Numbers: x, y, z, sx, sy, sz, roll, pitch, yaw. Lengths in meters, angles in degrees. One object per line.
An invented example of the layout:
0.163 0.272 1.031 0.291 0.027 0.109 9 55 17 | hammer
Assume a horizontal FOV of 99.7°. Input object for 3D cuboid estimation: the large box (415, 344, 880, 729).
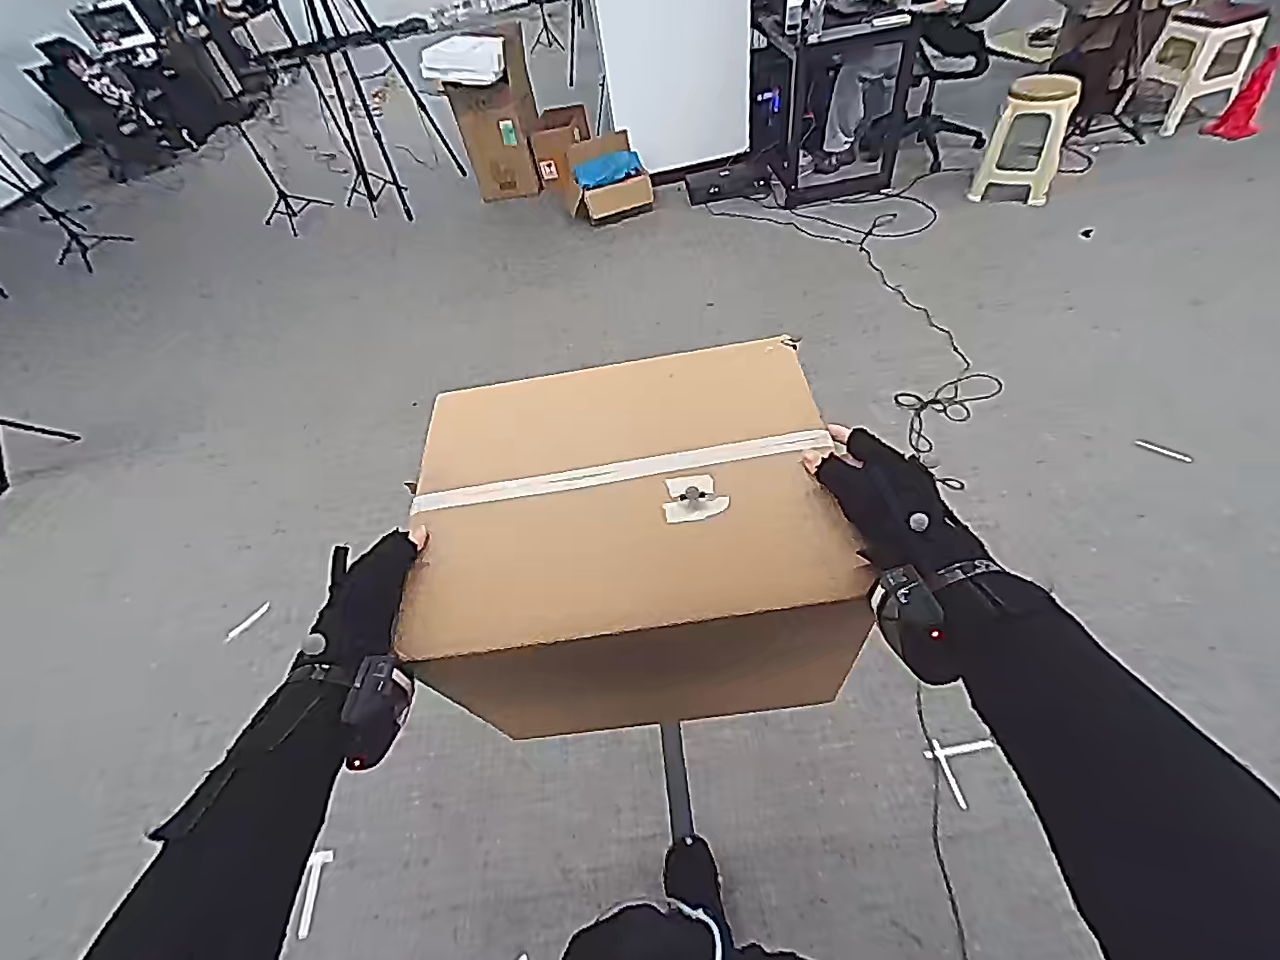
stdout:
0.006 0.082 0.655 0.408 0.320 0.320 -8 53 3 | large box
